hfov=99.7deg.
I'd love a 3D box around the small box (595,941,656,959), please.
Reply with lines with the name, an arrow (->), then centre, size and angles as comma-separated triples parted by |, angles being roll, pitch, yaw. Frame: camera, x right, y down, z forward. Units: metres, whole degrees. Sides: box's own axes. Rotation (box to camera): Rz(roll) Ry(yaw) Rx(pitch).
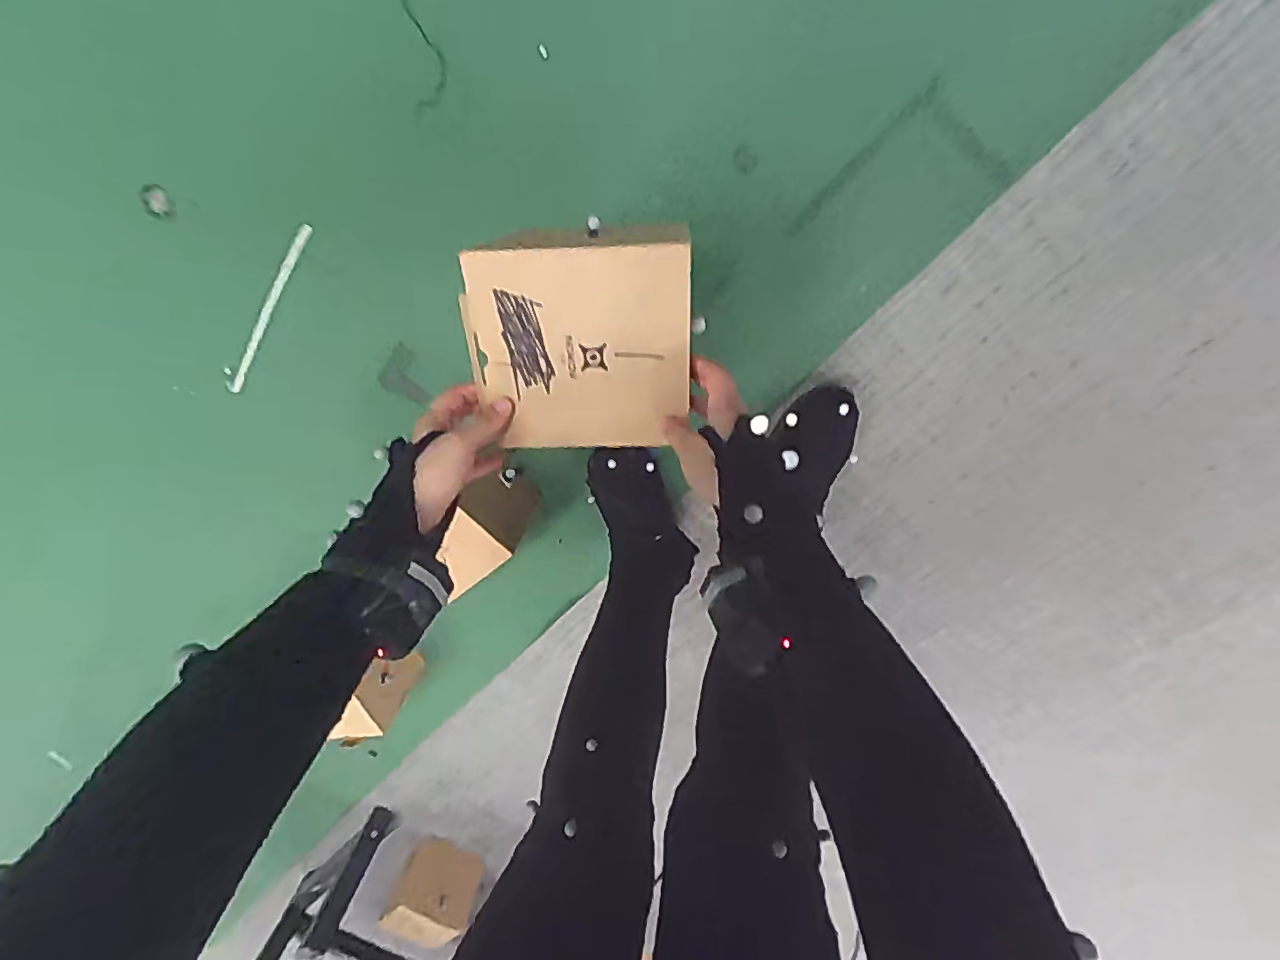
small box -> -0.042, 1.518, 1.618 | 0.179, 0.176, 0.168 | -13, 117, 14

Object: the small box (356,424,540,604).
small box -> -0.278, 0.047, 0.821 | 0.179, 0.176, 0.168 | -37, 110, 22

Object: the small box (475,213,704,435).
small box -> -0.032, -0.152, 0.510 | 0.179, 0.176, 0.168 | -1, 121, 3

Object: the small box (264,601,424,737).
small box -> -0.546, 0.357, 1.029 | 0.168, 0.176, 0.179 | -11, 118, 14

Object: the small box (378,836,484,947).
small box -> -0.545, 1.088, 1.435 | 0.179, 0.176, 0.168 | 36, 116, -13
